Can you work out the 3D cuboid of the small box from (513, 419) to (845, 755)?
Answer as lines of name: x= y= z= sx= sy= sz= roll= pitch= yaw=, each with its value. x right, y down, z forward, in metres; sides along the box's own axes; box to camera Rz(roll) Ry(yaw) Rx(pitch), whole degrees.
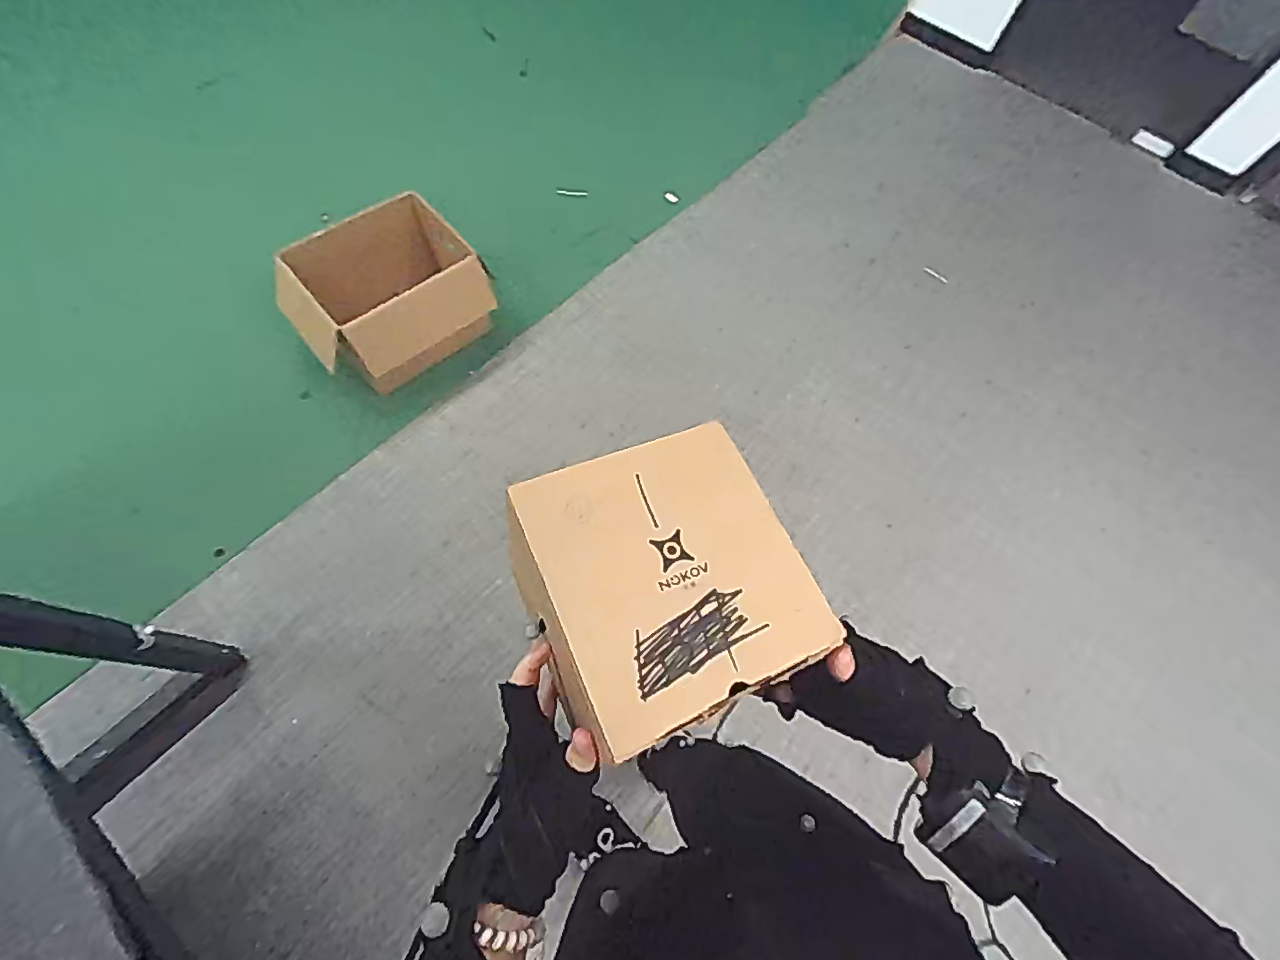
small box: x=0.011 y=0.086 z=0.415 sx=0.168 sy=0.176 sz=0.179 roll=-19 pitch=68 yaw=-20
